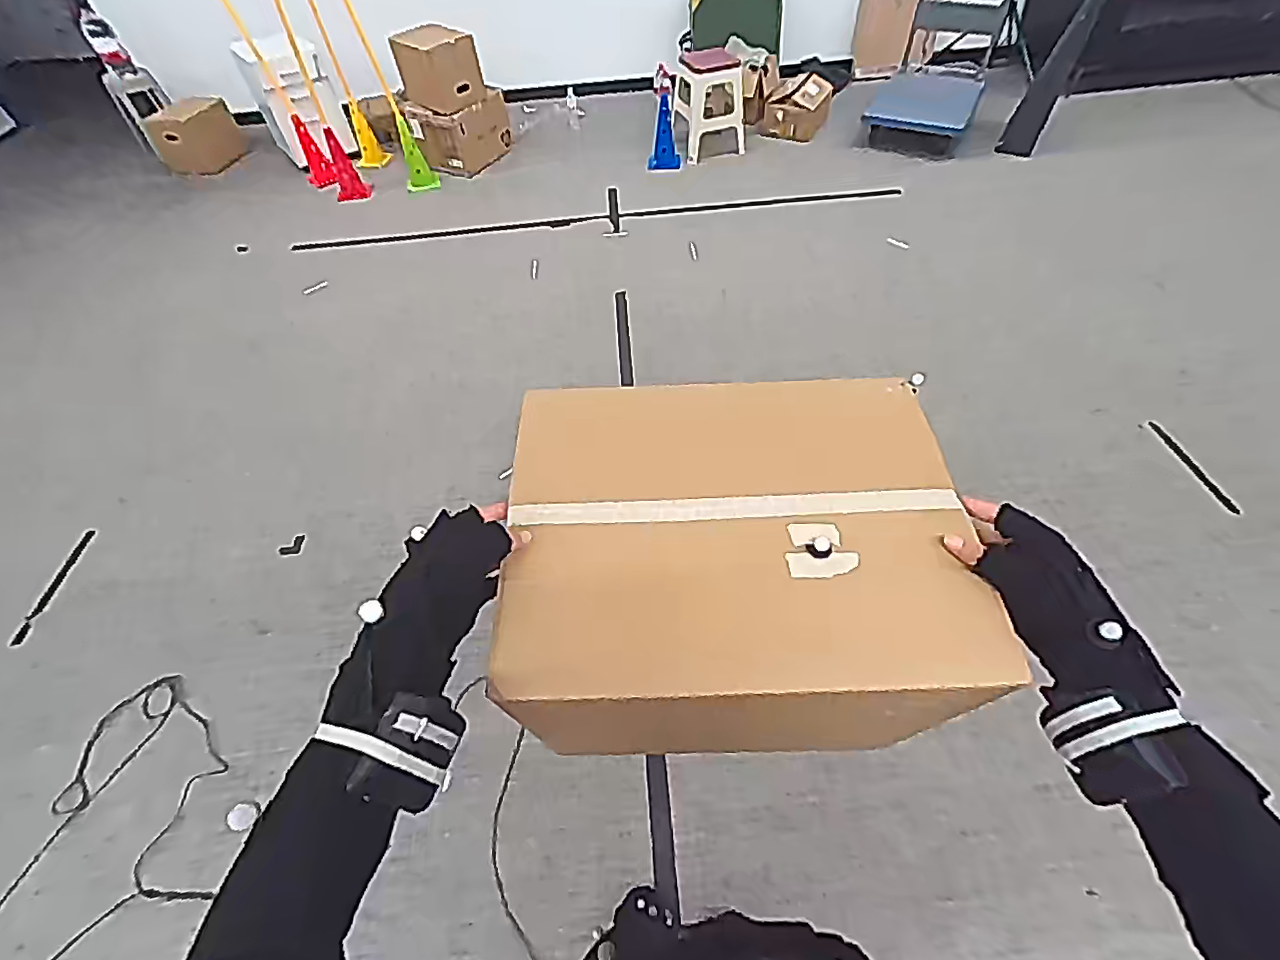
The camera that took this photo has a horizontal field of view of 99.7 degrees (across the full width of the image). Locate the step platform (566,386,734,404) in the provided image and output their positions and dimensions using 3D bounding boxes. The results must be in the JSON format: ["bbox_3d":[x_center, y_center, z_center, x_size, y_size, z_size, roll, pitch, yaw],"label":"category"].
[{"bbox_3d":[0.015,-0.136,1.859,0.684,0.204,0.286,-7,52,-3],"label":"step platform"}]

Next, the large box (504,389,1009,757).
[{"bbox_3d":[0.088,0.119,0.624,0.408,0.320,0.320,-2,56,0],"label":"large box"}]
